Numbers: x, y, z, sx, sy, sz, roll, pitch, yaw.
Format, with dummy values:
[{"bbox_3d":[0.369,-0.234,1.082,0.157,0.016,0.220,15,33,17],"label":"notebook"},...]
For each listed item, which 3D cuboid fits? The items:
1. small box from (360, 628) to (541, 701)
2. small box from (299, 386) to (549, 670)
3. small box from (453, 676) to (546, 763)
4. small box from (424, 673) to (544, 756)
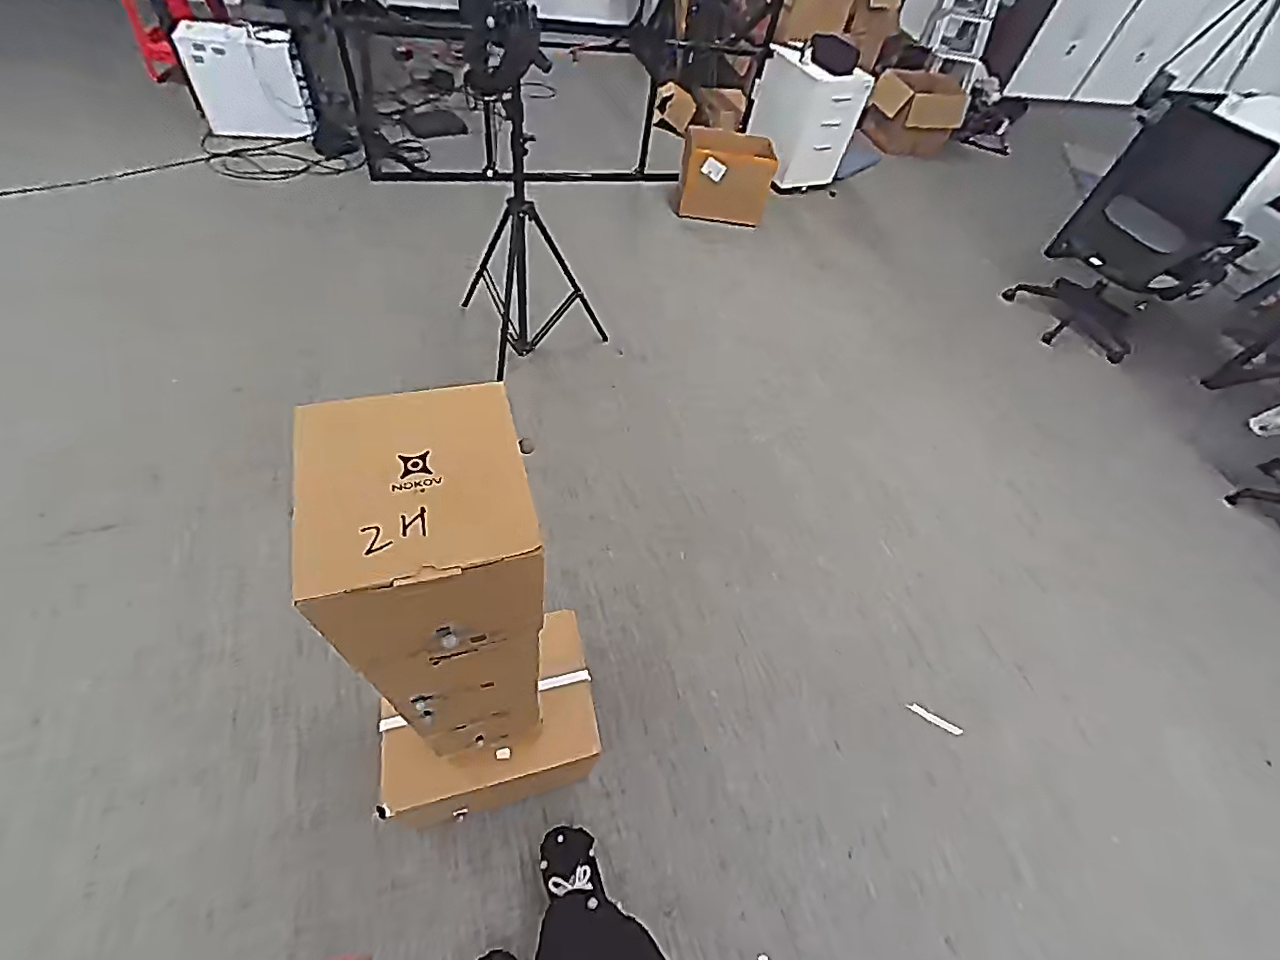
[{"bbox_3d":[-0.206,0.137,0.614,0.168,0.176,0.179,-8,56,-16],"label":"small box"},{"bbox_3d":[-0.181,0.044,0.481,0.168,0.176,0.179,-11,58,-17],"label":"small box"},{"bbox_3d":[-0.278,0.411,1.015,0.179,0.176,0.168,-10,58,-18],"label":"small box"},{"bbox_3d":[-0.256,0.324,0.880,0.168,0.176,0.179,-10,58,-17],"label":"small box"}]
